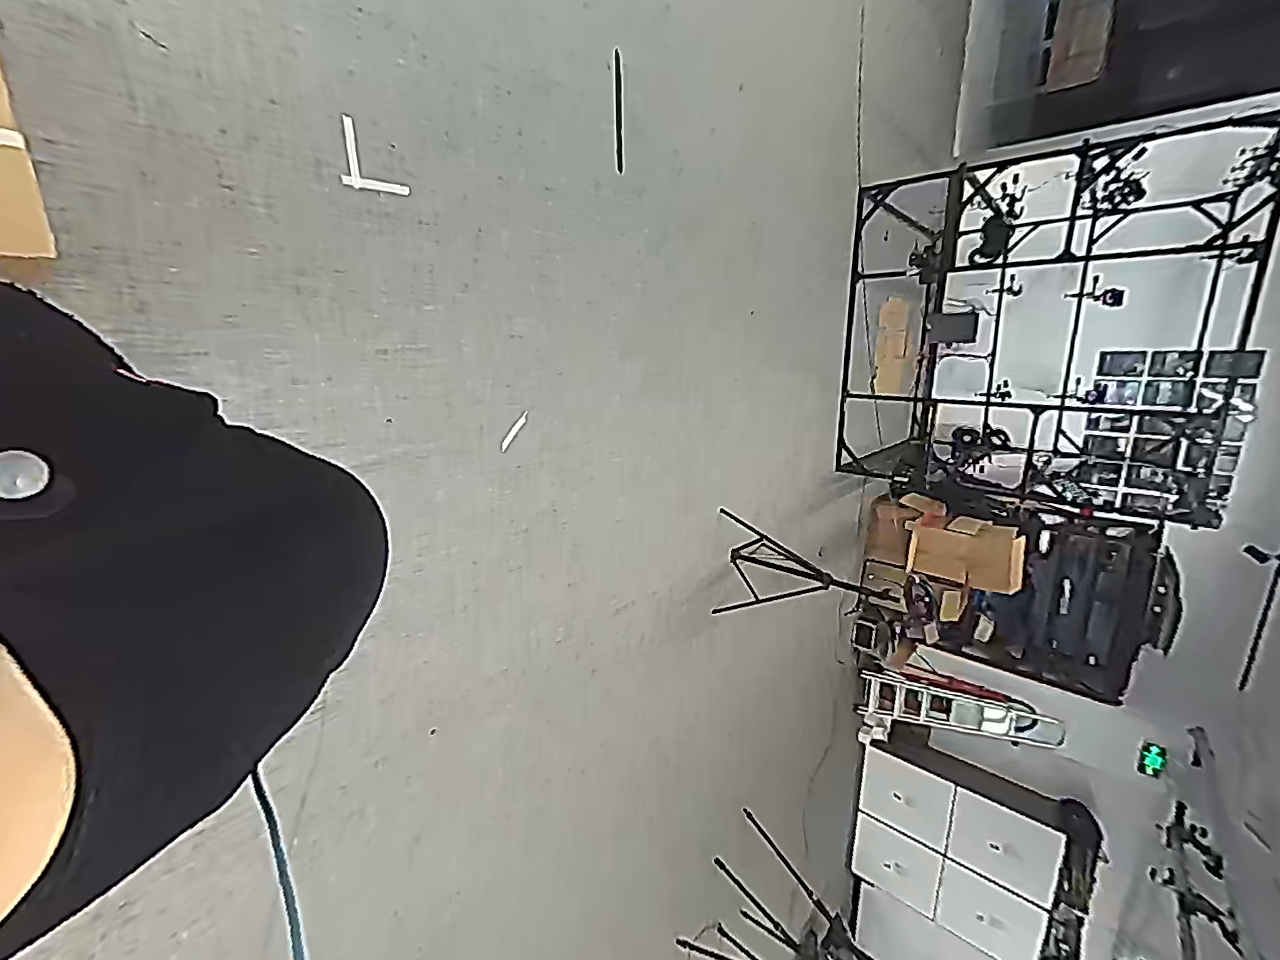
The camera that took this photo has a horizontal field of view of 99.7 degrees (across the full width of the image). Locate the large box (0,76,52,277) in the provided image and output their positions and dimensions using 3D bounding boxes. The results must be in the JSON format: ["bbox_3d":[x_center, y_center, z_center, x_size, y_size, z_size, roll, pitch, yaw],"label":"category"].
[{"bbox_3d":[-1.129,-0.457,0.720,0.408,0.320,0.320,-20,111,-48],"label":"large box"}]
